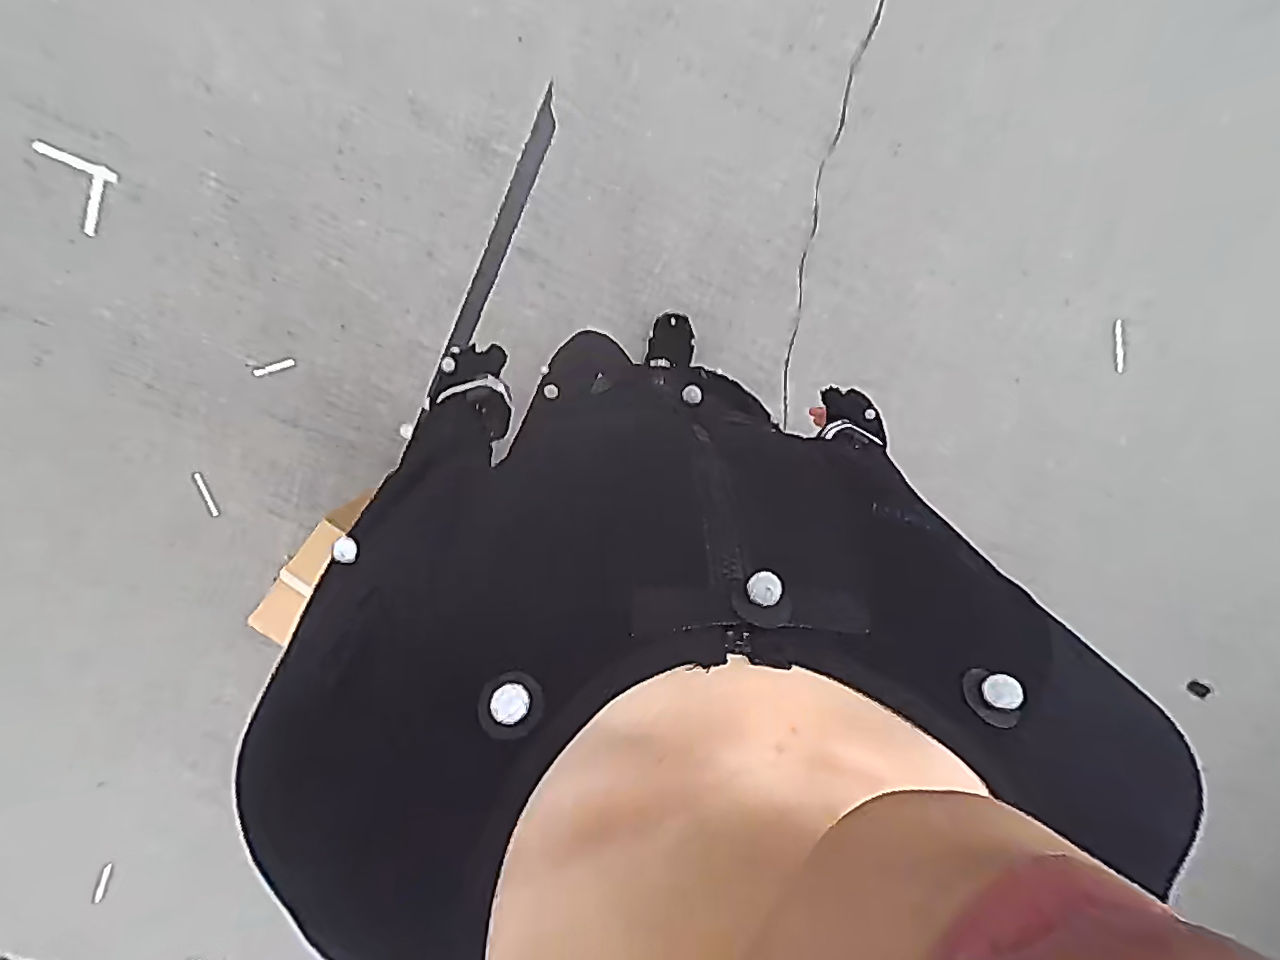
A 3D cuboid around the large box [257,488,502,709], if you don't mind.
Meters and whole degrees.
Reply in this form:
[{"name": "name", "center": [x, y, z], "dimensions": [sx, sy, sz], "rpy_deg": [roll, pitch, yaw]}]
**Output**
[{"name": "large box", "center": [-0.623, 0.280, 1.368], "dimensions": [0.408, 0.320, 0.320], "rpy_deg": [38, 98, -12]}]
